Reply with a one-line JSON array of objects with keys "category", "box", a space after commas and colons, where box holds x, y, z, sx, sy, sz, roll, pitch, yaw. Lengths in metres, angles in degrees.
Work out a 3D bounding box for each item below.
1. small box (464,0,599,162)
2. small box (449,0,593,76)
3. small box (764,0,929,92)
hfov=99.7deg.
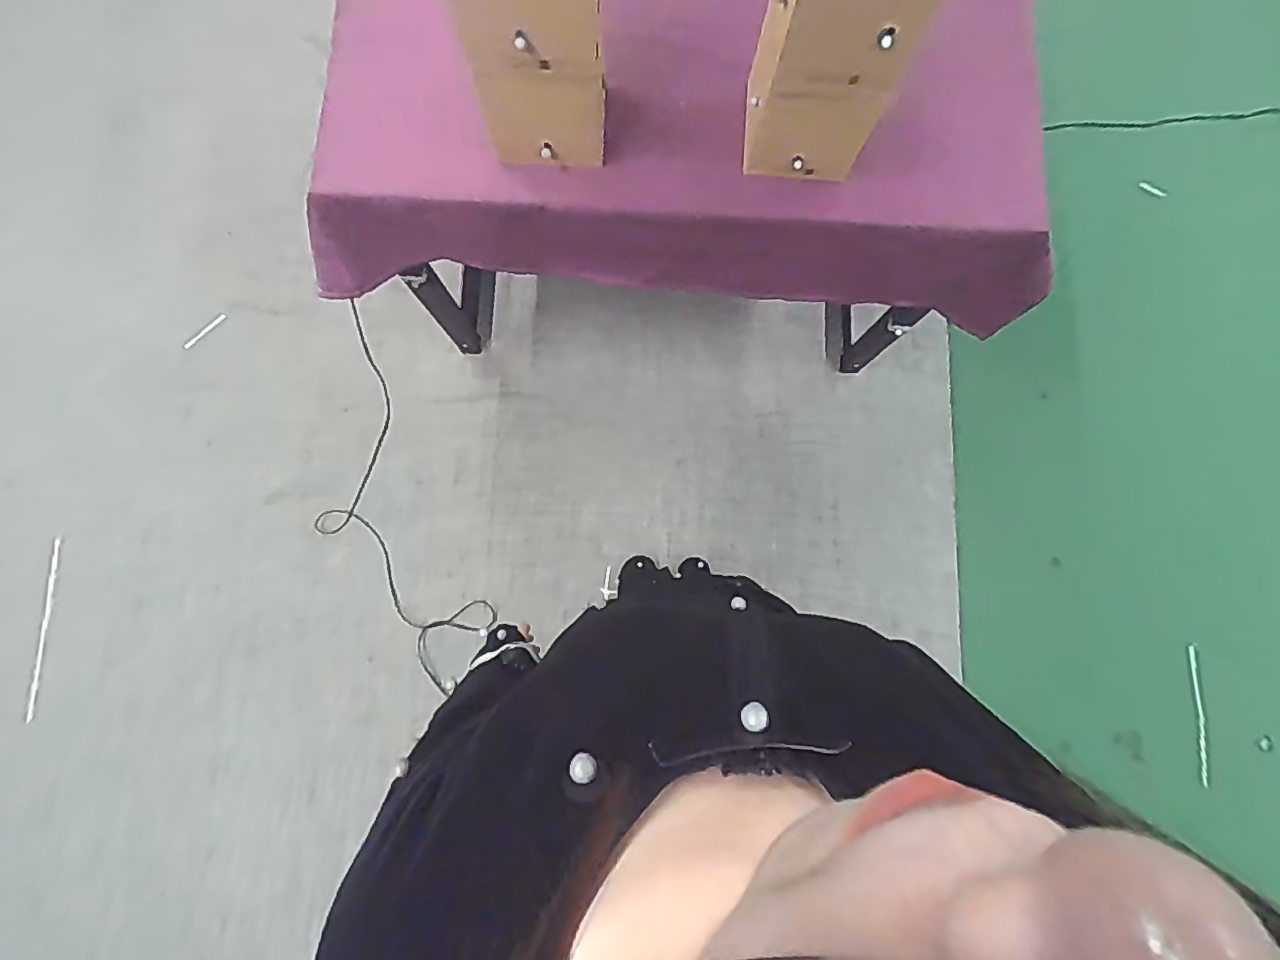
[{"category": "small box", "box": [-0.151, -0.612, 0.815, 0.179, 0.176, 0.168, 1, 81, -2]}, {"category": "small box", "box": [-0.146, -0.641, 0.653, 0.168, 0.176, 0.179, 3, 82, -1]}, {"category": "small box", "box": [0.255, -0.620, 0.662, 0.168, 0.176, 0.179, 3, 82, -1]}]
